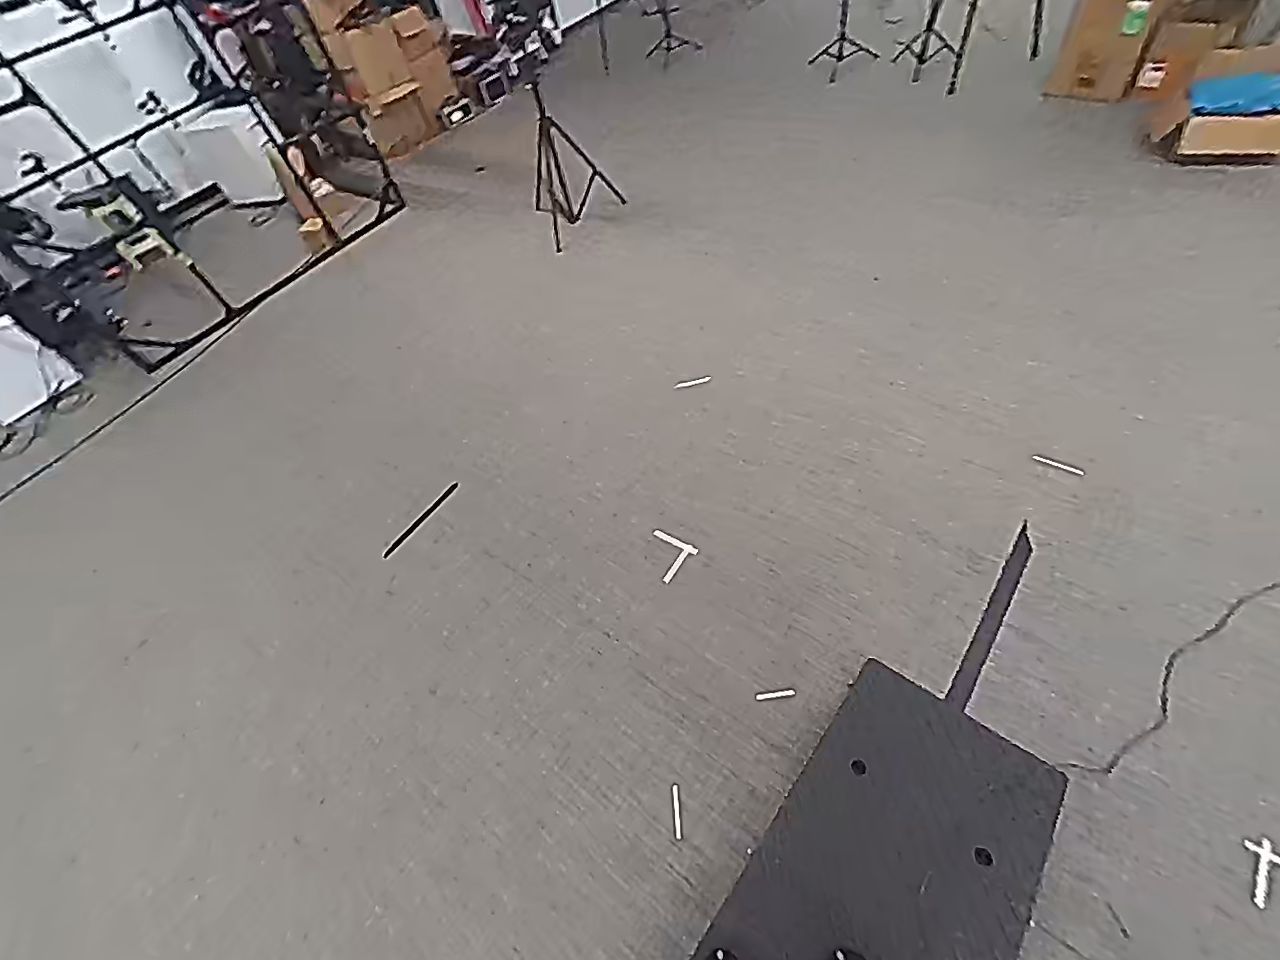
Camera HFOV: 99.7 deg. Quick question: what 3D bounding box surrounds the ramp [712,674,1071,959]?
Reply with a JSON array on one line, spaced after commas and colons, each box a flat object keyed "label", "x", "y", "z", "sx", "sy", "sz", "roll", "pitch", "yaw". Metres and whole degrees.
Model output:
[{"label": "ramp", "x": 0.518, "y": 0.906, "z": 1.133, "sx": 0.509, "sy": 0.206, "sz": 0.991, "roll": 24, "pitch": 60, "yaw": 31}]
